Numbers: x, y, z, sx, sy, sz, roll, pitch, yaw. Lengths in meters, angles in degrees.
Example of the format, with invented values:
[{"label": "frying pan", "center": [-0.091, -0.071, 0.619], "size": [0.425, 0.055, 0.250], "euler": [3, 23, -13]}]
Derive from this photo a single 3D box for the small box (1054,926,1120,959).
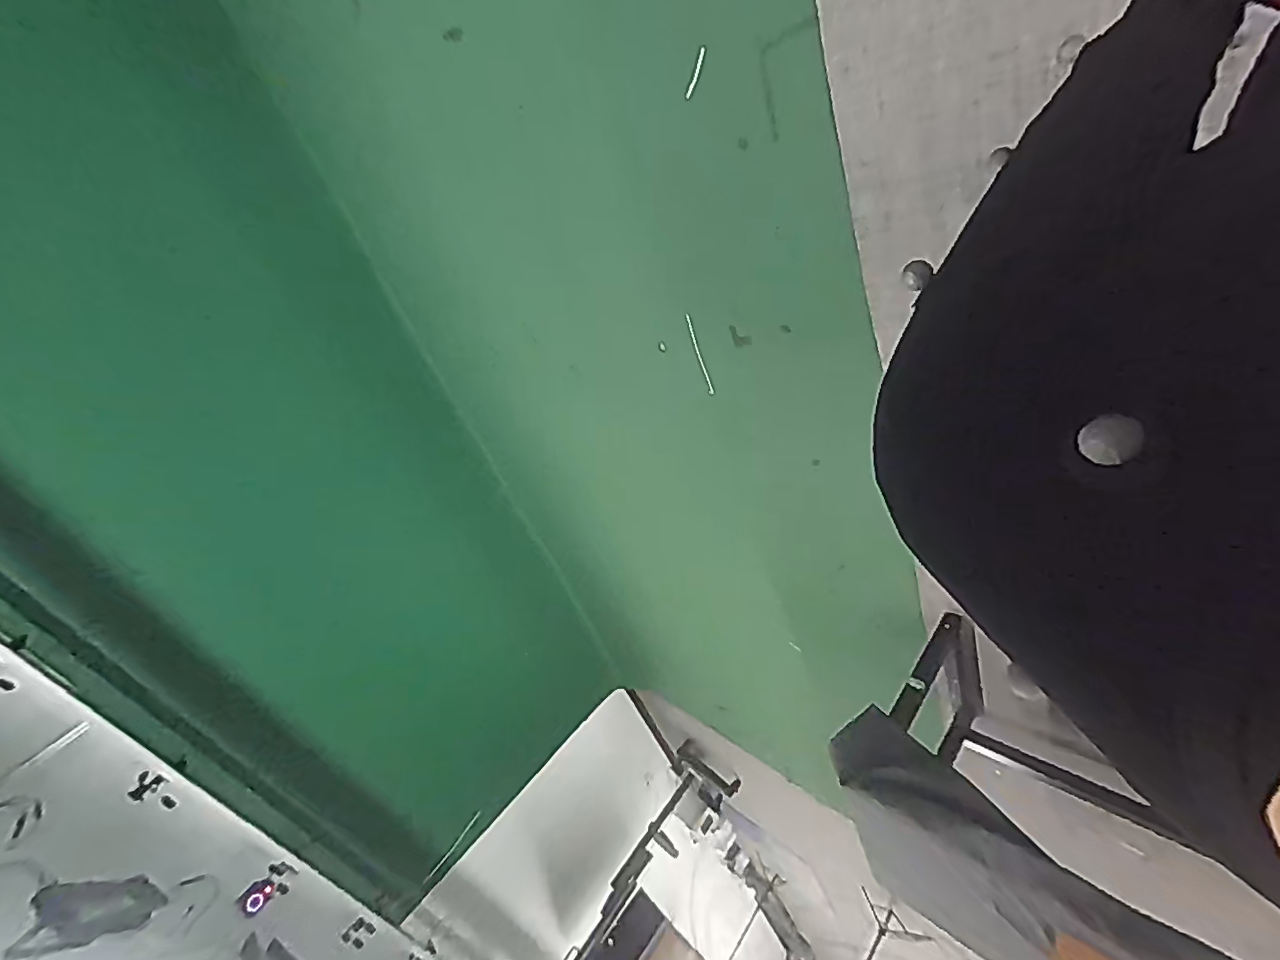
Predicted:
[{"label": "small box", "center": [0.975, 1.105, 1.135], "size": [0.179, 0.176, 0.168], "euler": [13, 136, 48]}]
